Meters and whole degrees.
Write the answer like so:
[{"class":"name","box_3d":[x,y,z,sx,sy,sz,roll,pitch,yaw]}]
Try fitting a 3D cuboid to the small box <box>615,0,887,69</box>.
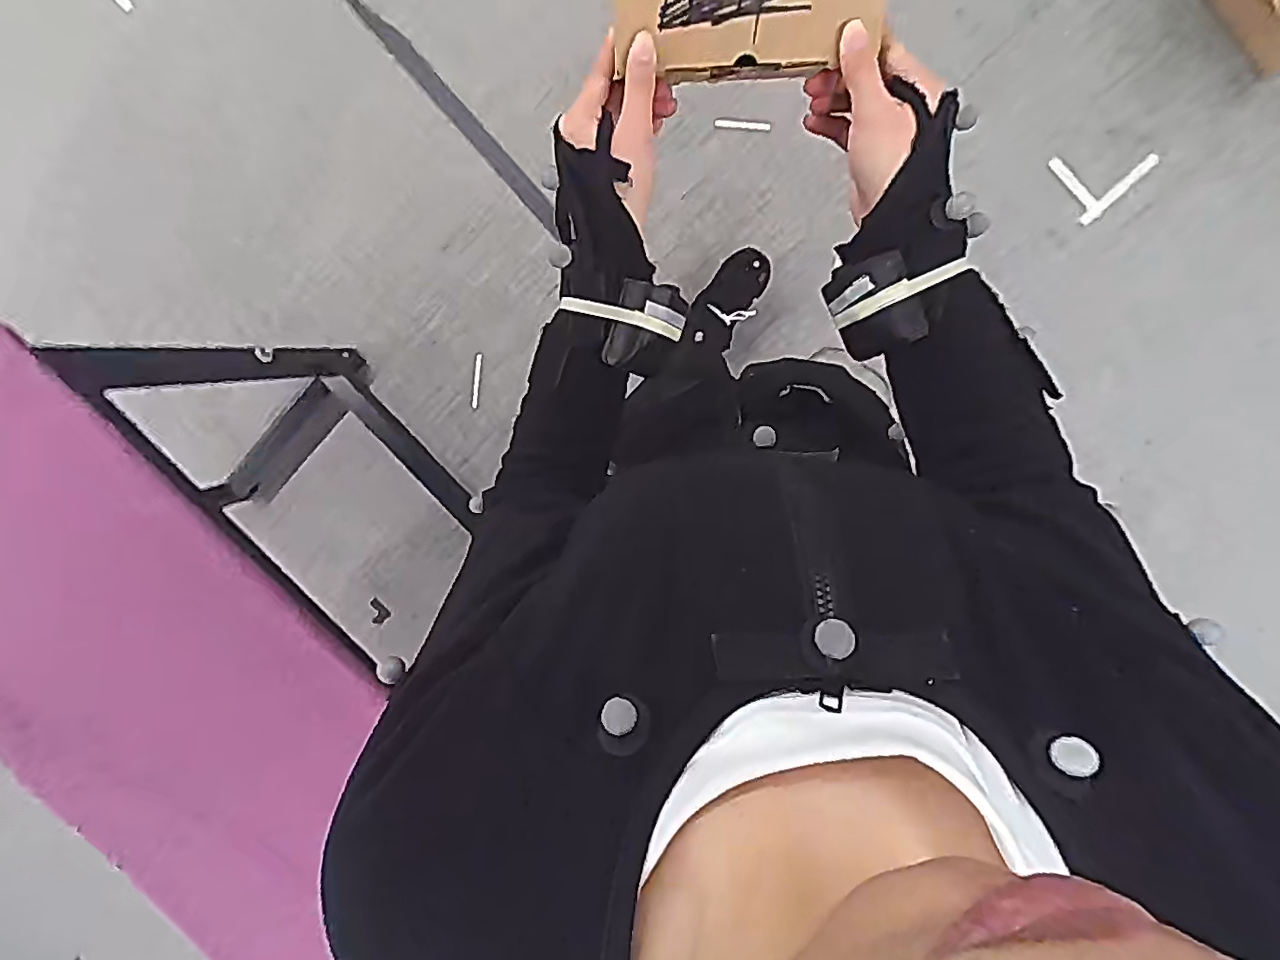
[{"class":"small box","box_3d":[0.070,-0.384,0.356,0.168,0.176,0.179,0,124,3]}]
